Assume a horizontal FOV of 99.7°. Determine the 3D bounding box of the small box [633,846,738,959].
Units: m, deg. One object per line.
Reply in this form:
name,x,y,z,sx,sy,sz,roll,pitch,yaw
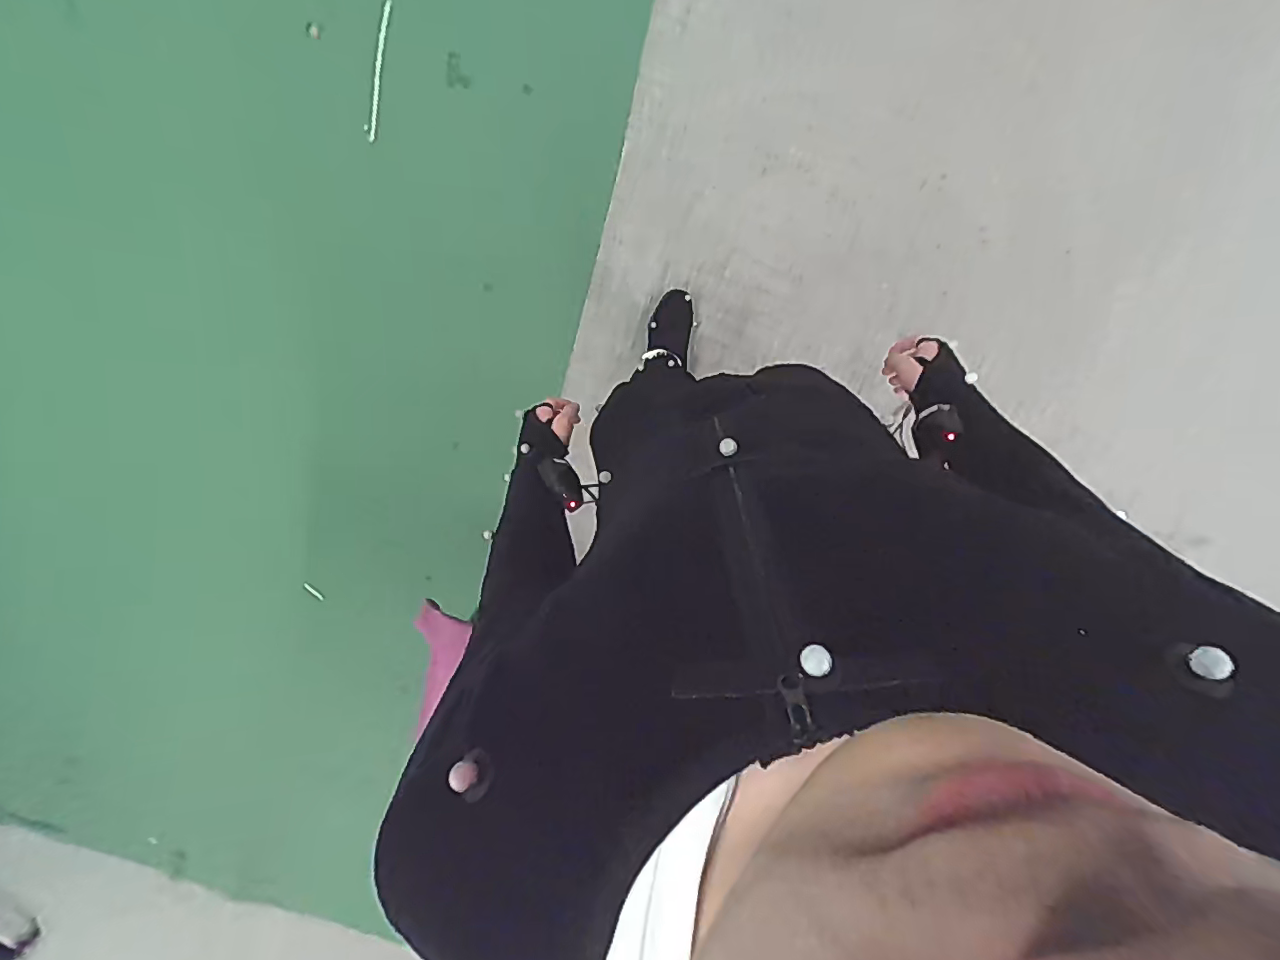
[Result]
small box,0.091,0.911,1.117,0.168,0.176,0.179,17,108,-1
